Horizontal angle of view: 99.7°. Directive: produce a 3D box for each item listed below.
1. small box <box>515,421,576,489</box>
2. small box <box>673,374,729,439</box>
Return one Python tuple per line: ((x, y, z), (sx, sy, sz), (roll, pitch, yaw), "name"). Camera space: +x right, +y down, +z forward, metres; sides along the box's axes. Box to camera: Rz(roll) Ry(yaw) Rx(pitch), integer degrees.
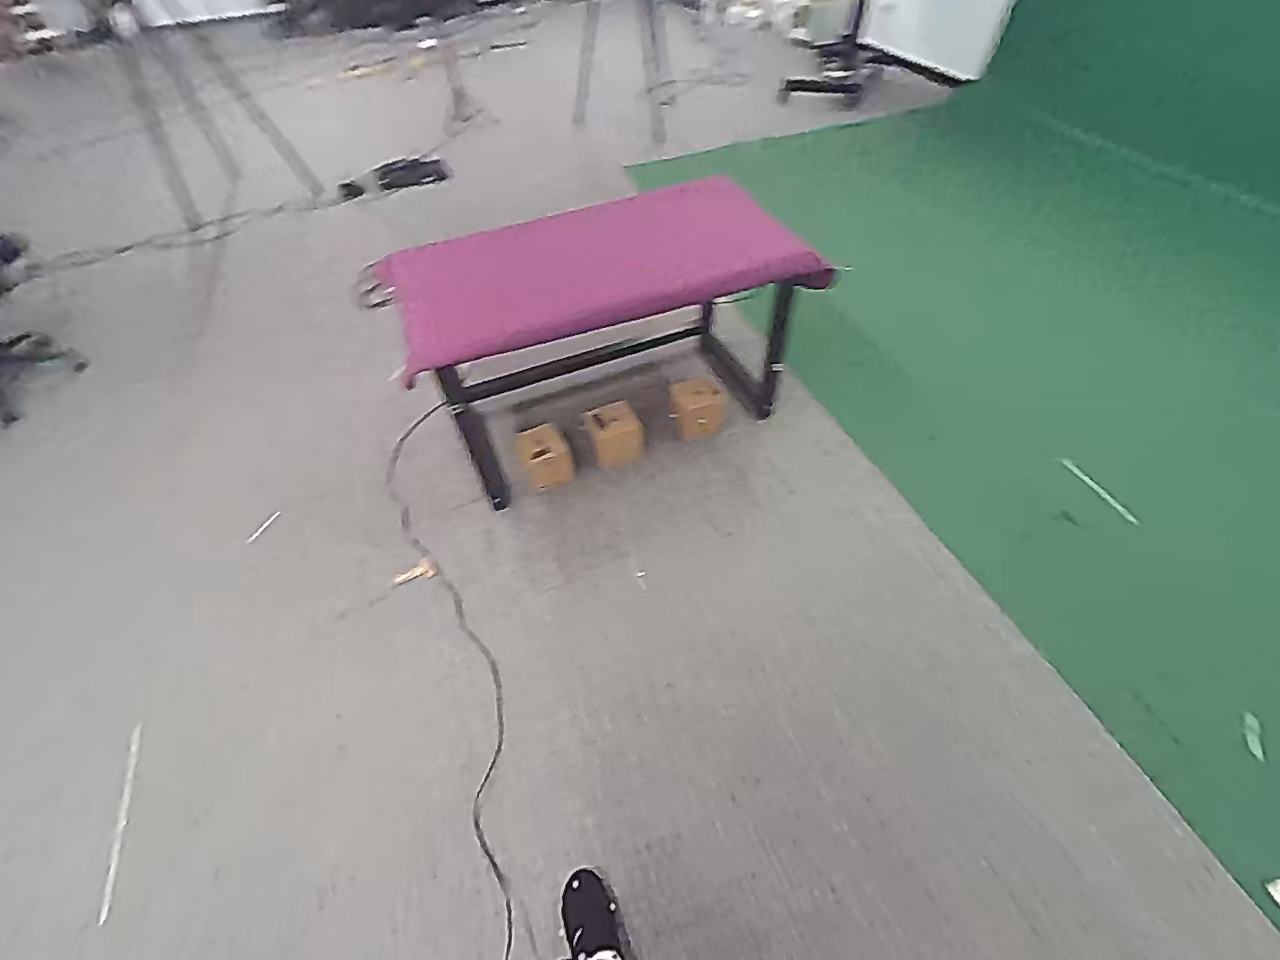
((-0.352, -0.086, 2.039), (0.168, 0.176, 0.179), (-23, 53, -14), "small box")
((0.241, -0.290, 2.163), (0.179, 0.176, 0.168), (-17, 52, -9), "small box")
